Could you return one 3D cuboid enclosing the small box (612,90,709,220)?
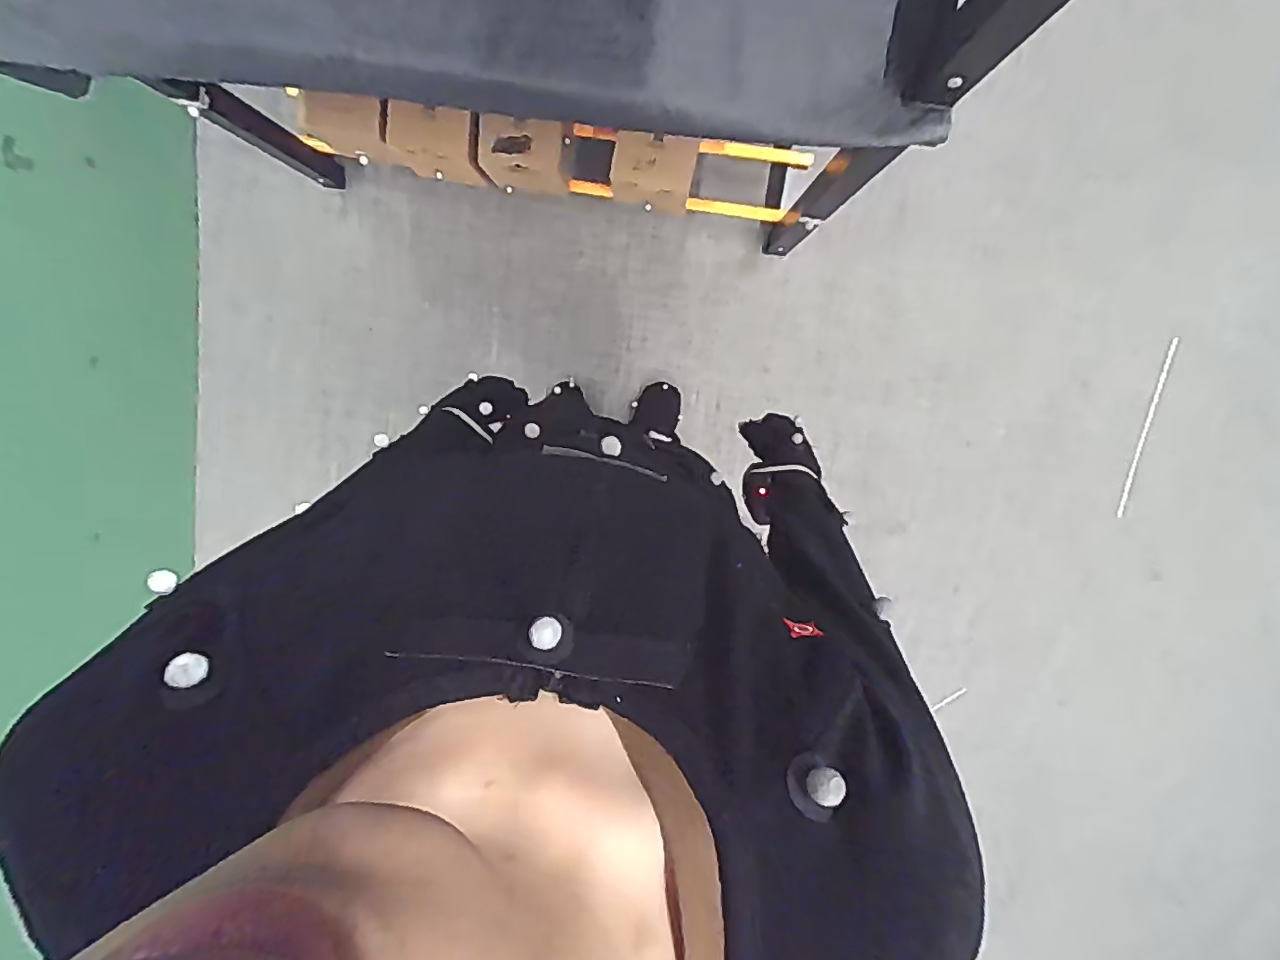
[{"bbox_3d":[0.041,-0.691,1.169,0.168,0.176,0.179,13,103,0],"label":"small box"}]
